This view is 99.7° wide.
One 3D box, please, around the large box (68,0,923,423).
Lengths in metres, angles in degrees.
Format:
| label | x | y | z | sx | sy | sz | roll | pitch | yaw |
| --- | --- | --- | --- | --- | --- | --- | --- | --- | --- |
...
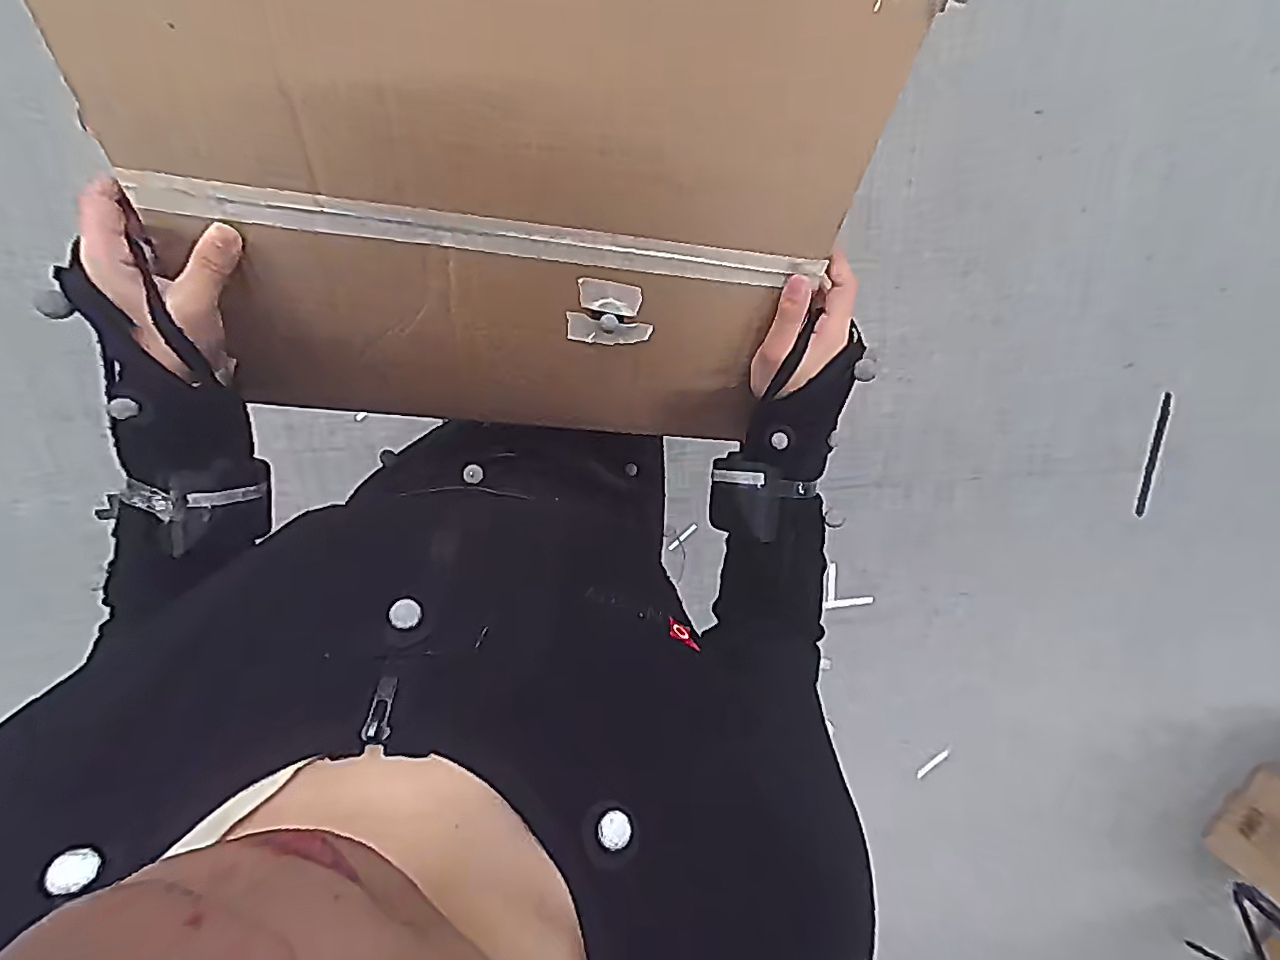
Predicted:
| label | x | y | z | sx | sy | sz | roll | pitch | yaw |
| --- | --- | --- | --- | --- | --- | --- | --- | --- | --- |
| large box | -0.089 | -0.268 | 0.432 | 0.408 | 0.320 | 0.320 | 2 | 140 | -10 |
